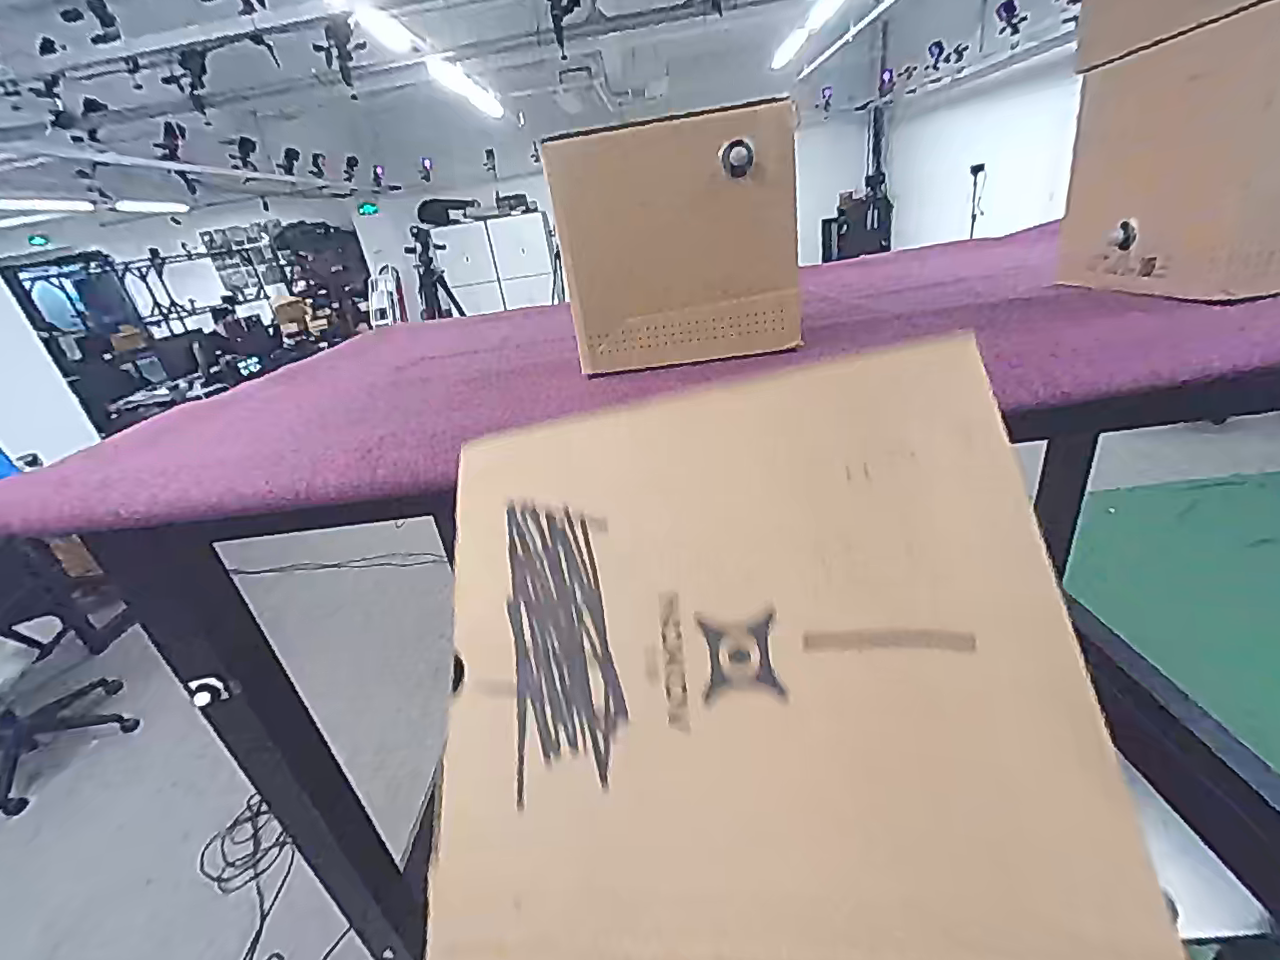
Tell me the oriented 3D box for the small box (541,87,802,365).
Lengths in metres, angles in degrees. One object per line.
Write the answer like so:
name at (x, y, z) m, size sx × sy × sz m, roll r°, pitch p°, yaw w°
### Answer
small box at (0.033, -0.200, 0.459) m, size 0.179 × 0.176 × 0.168 m, roll -6°, pitch 25°, yaw 5°

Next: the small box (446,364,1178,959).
small box at (0.049, 0.080, 0.225) m, size 0.179 × 0.176 × 0.168 m, roll -10°, pitch 69°, yaw 16°

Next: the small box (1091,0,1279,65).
small box at (0.422, -0.383, 0.321) m, size 0.168 × 0.176 × 0.179 m, roll -7°, pitch 24°, yaw 6°
